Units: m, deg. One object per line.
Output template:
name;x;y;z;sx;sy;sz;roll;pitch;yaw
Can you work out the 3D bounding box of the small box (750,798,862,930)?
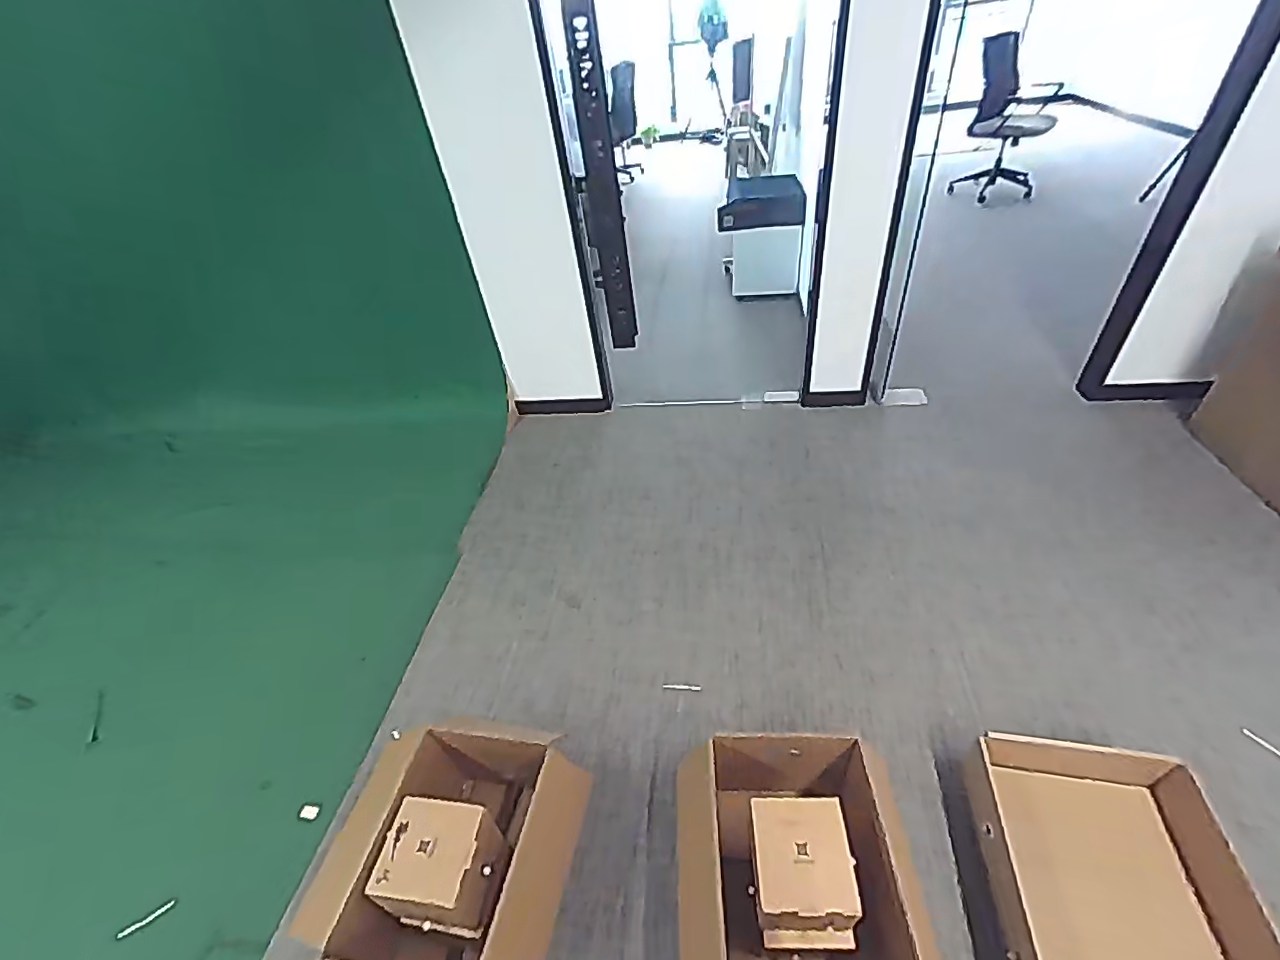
small box;0.298;0.714;1.004;0.168;0.176;0.179;-3;43;5
